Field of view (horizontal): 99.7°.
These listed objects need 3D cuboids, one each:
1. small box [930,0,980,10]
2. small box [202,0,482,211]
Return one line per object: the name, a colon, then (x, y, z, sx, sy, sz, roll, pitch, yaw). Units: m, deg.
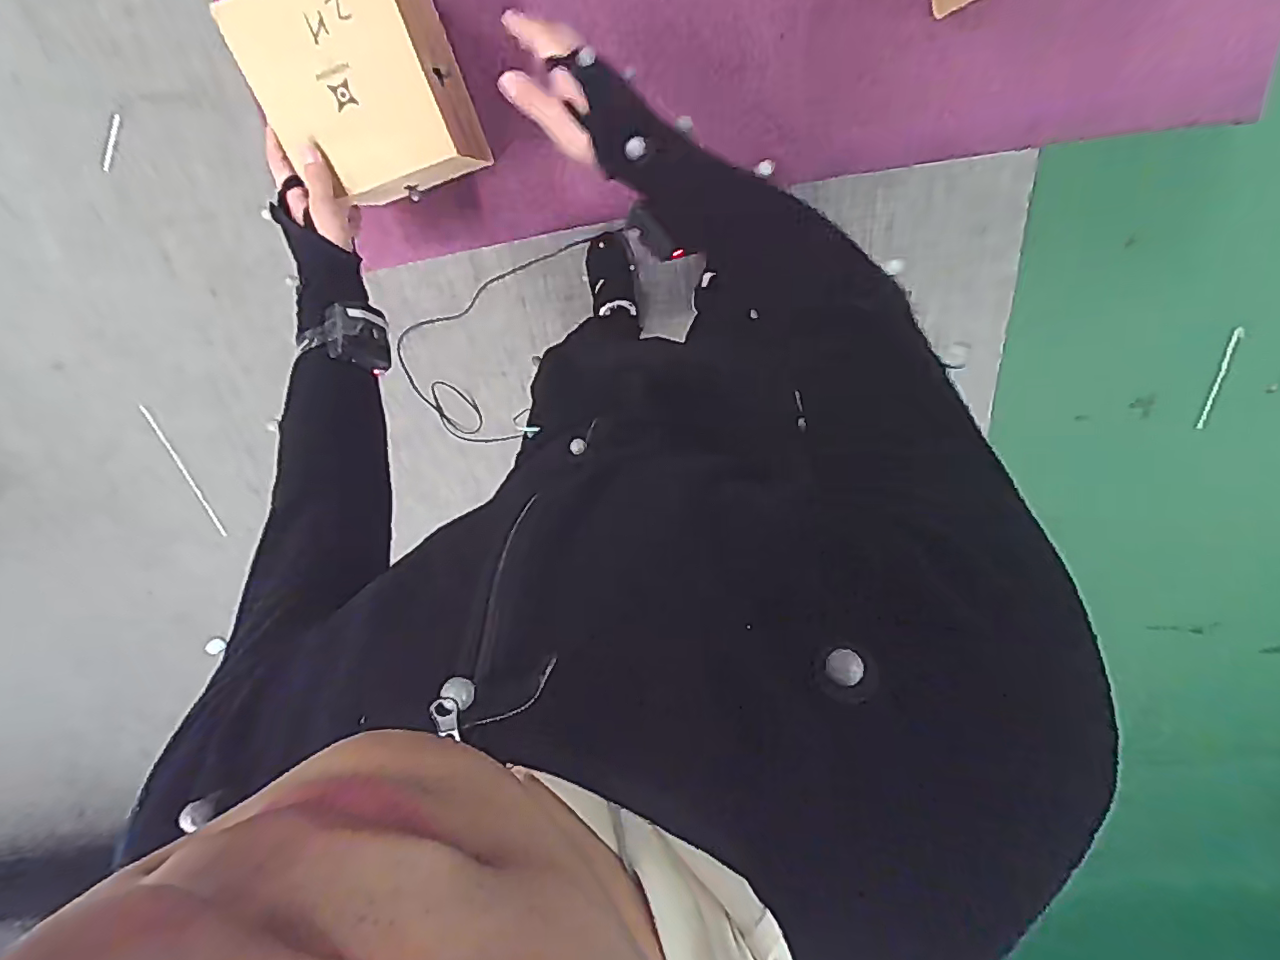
small box: (0.370, -0.588, 0.504, 0.168, 0.176, 0.179, -27, 116, 13)
small box: (-0.290, -0.409, 0.579, 0.168, 0.176, 0.179, -15, 118, 6)
